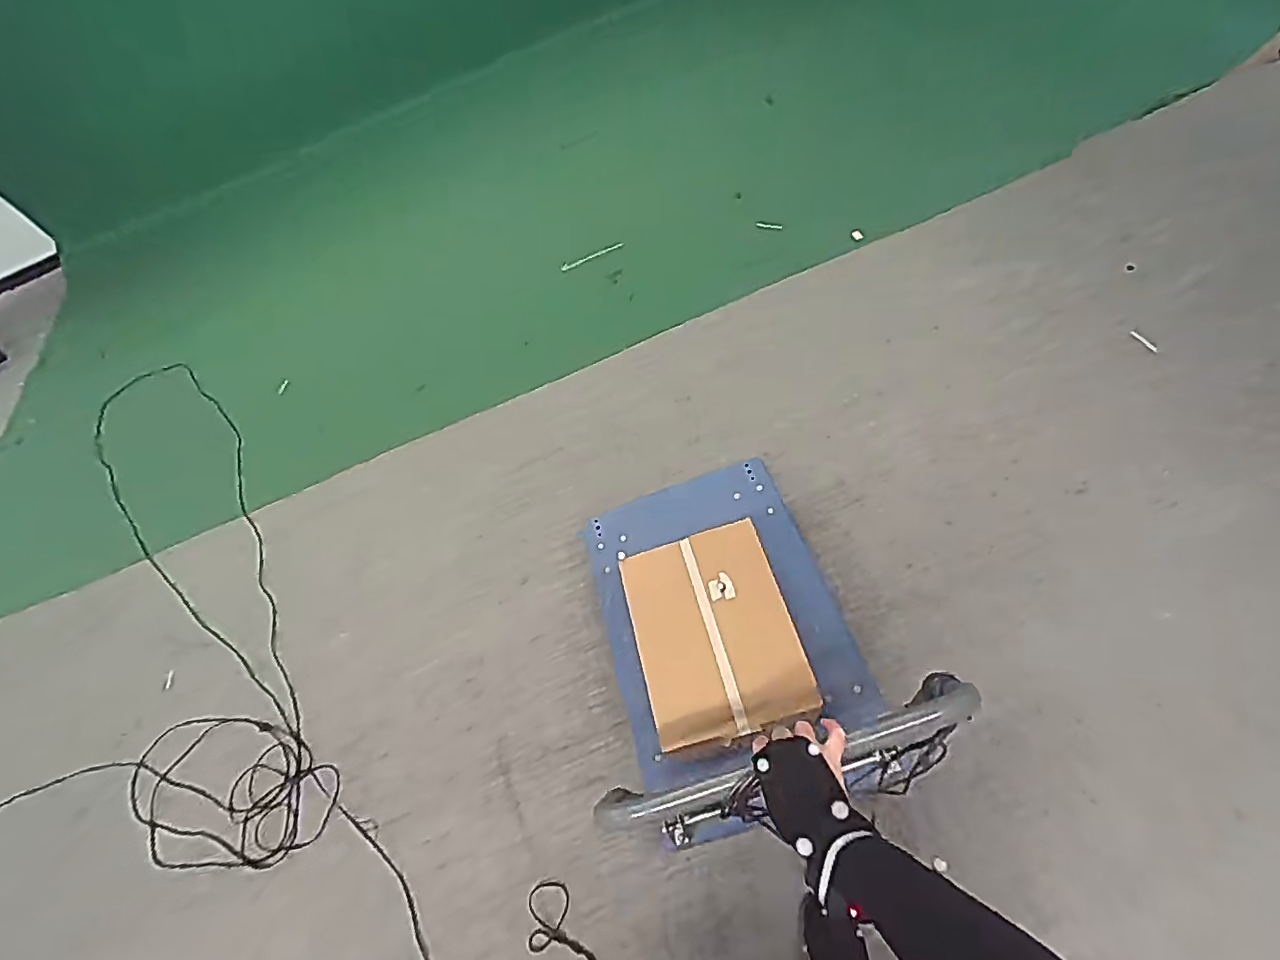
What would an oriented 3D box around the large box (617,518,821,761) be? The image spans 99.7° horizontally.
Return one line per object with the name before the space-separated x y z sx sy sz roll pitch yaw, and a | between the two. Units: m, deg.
large box | 0.173 0.363 1.213 0.320 0.320 0.408 -18 56 3
